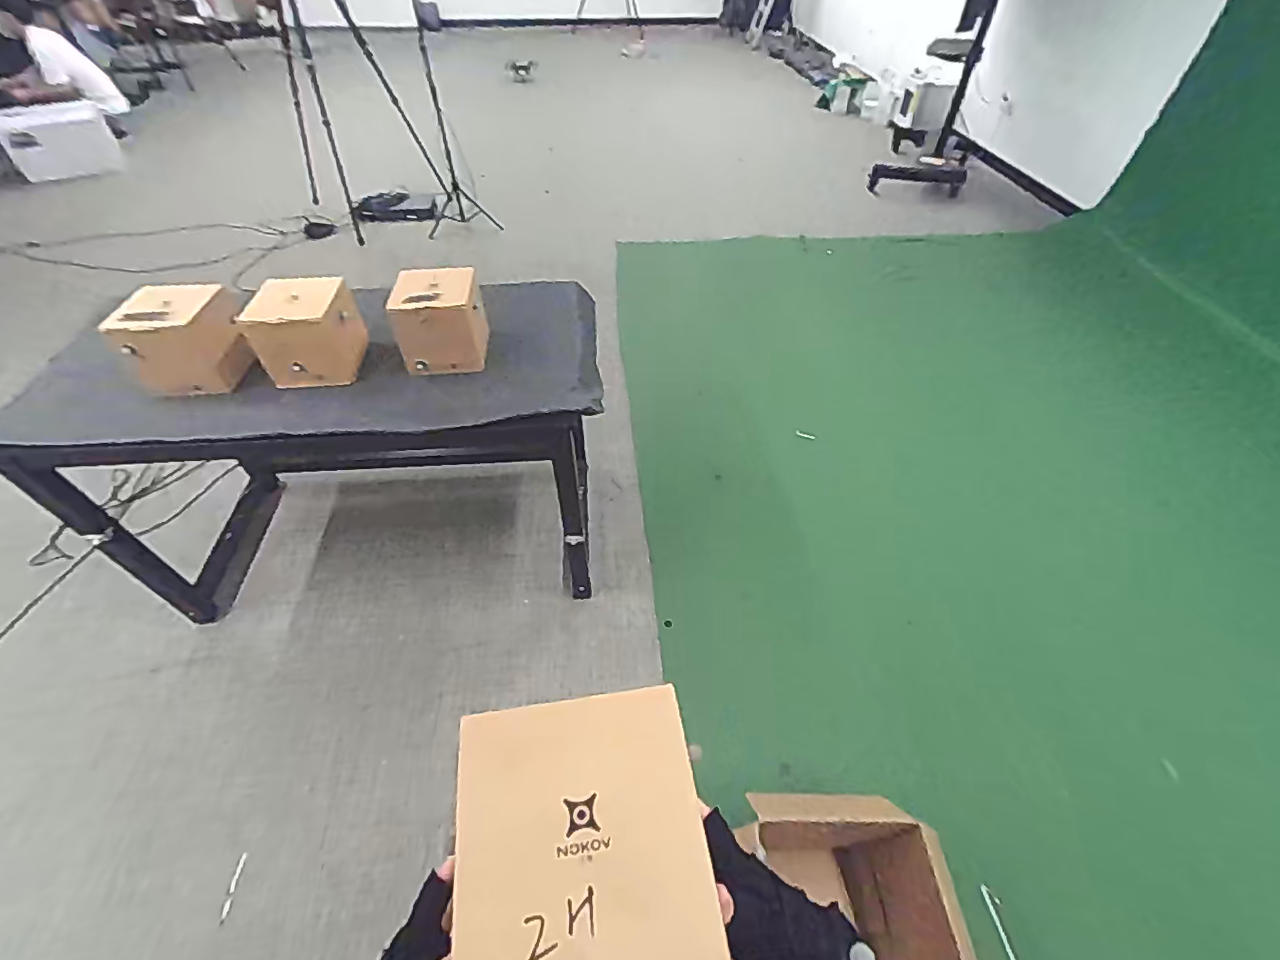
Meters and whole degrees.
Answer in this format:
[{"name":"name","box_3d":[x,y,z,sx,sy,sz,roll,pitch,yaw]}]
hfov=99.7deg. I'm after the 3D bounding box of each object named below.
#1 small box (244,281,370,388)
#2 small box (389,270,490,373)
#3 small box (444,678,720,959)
[{"name":"small box","box_3d":[-0.725,-0.324,1.205,0.168,0.176,0.179,-4,48,-5]},{"name":"small box","box_3d":[-0.445,-0.357,1.234,0.168,0.176,0.179,-4,47,-4]},{"name":"small box","box_3d":[-0.049,0.282,0.426,0.168,0.176,0.179,-6,51,-8]}]
